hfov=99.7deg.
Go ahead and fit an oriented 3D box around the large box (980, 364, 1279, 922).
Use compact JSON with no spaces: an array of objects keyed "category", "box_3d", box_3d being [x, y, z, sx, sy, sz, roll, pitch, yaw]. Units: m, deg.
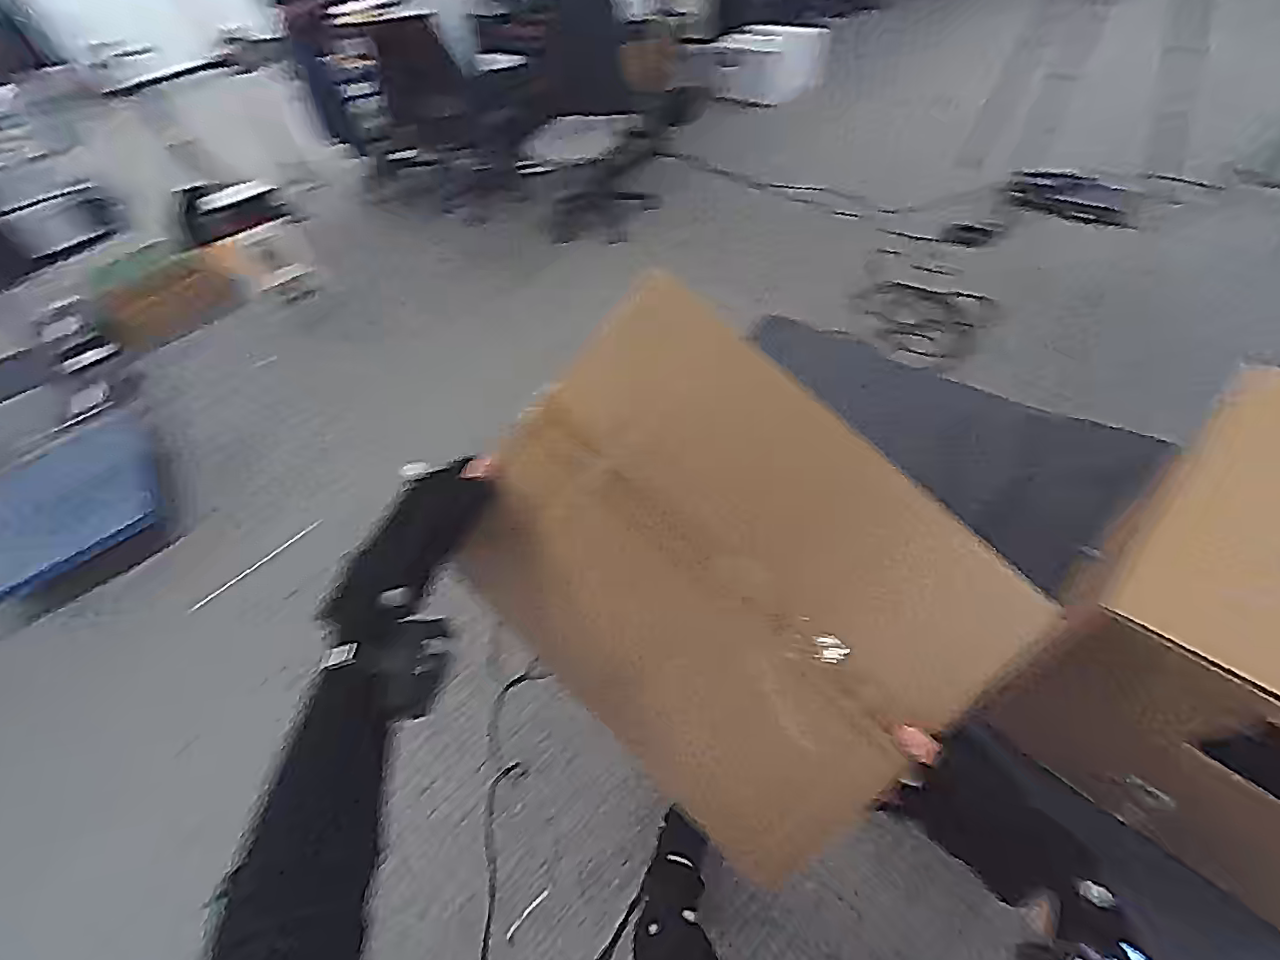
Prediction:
[{"category":"large box","box_3d":[0.637,0.153,0.559,0.408,0.320,0.320,-39,54,-23]}]
